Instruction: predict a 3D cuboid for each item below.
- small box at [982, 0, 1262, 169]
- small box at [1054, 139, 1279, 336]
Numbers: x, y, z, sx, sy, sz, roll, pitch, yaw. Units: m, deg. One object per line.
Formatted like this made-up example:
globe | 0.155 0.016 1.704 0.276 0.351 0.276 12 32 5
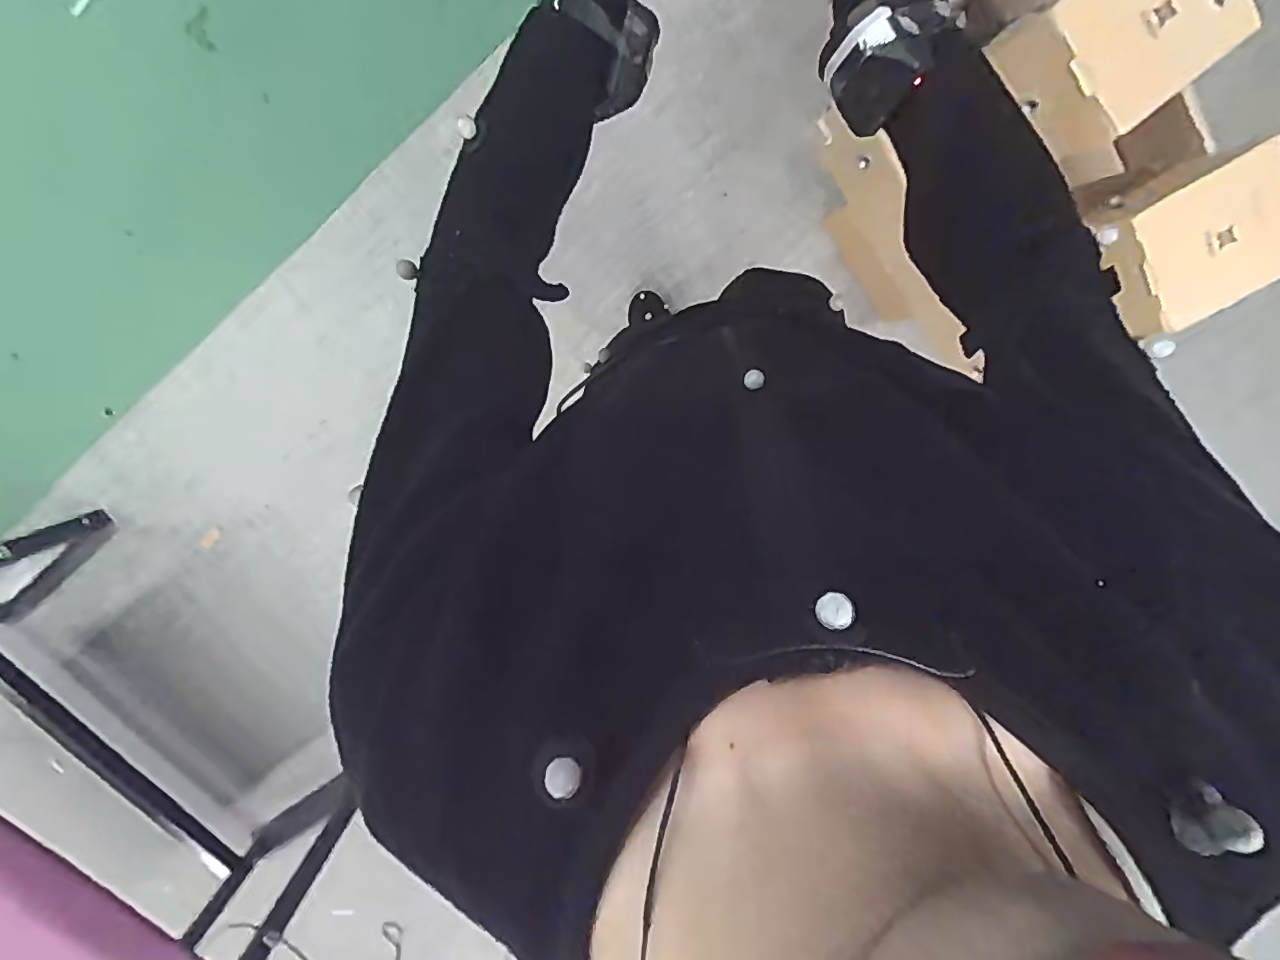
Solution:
small box | 0.567 -0.527 0.669 0.179 0.176 0.168 -38 103 11
small box | 0.710 -0.311 0.733 0.179 0.176 0.168 -29 104 9
